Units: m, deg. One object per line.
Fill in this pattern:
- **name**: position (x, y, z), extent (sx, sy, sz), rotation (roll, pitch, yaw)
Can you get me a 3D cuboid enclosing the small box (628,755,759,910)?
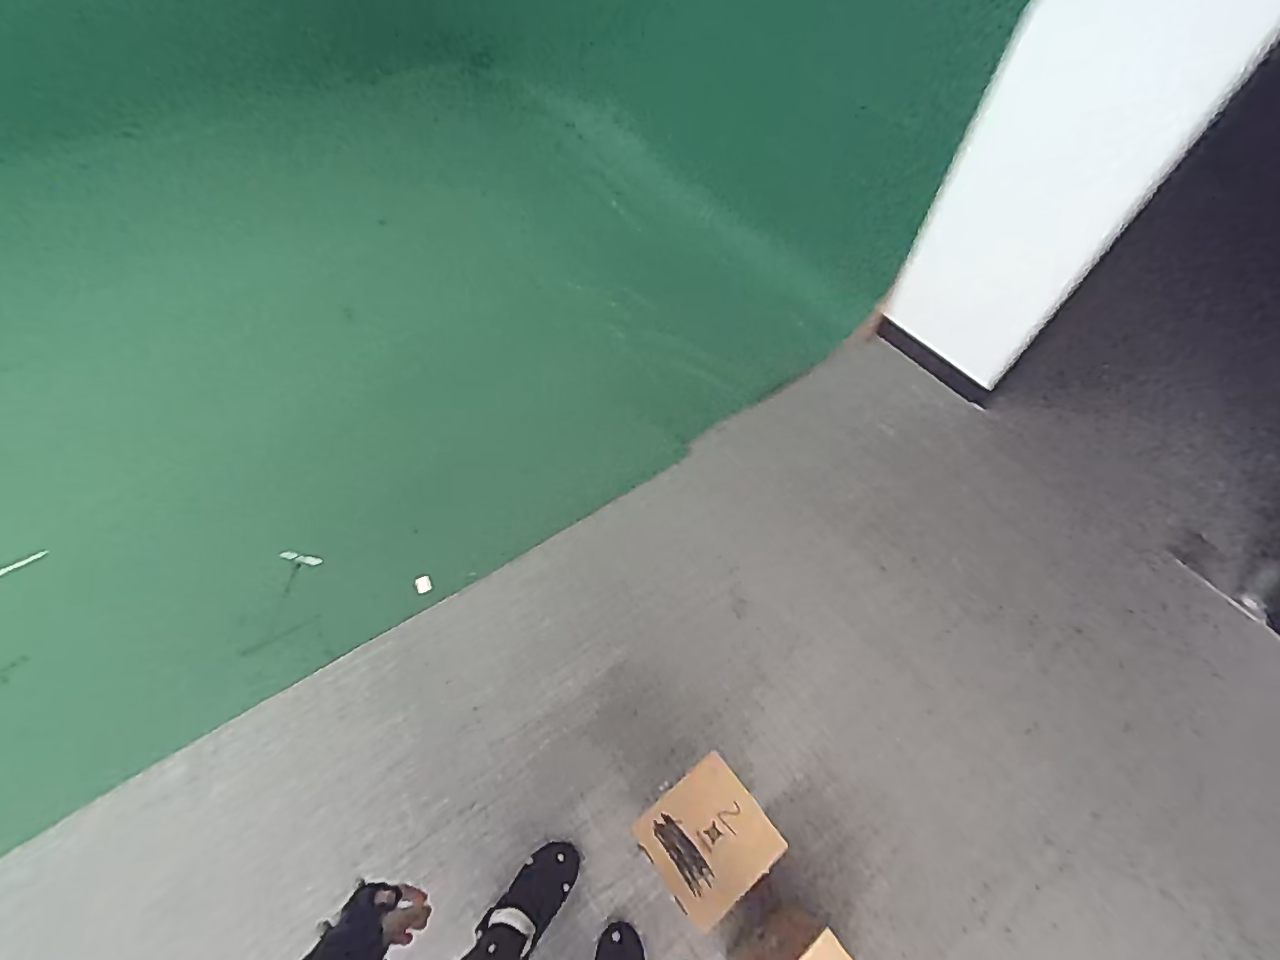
- **small box**: position (0.095, 0.655, 1.019), extent (0.168, 0.176, 0.179), rotation (-32, 62, -19)
